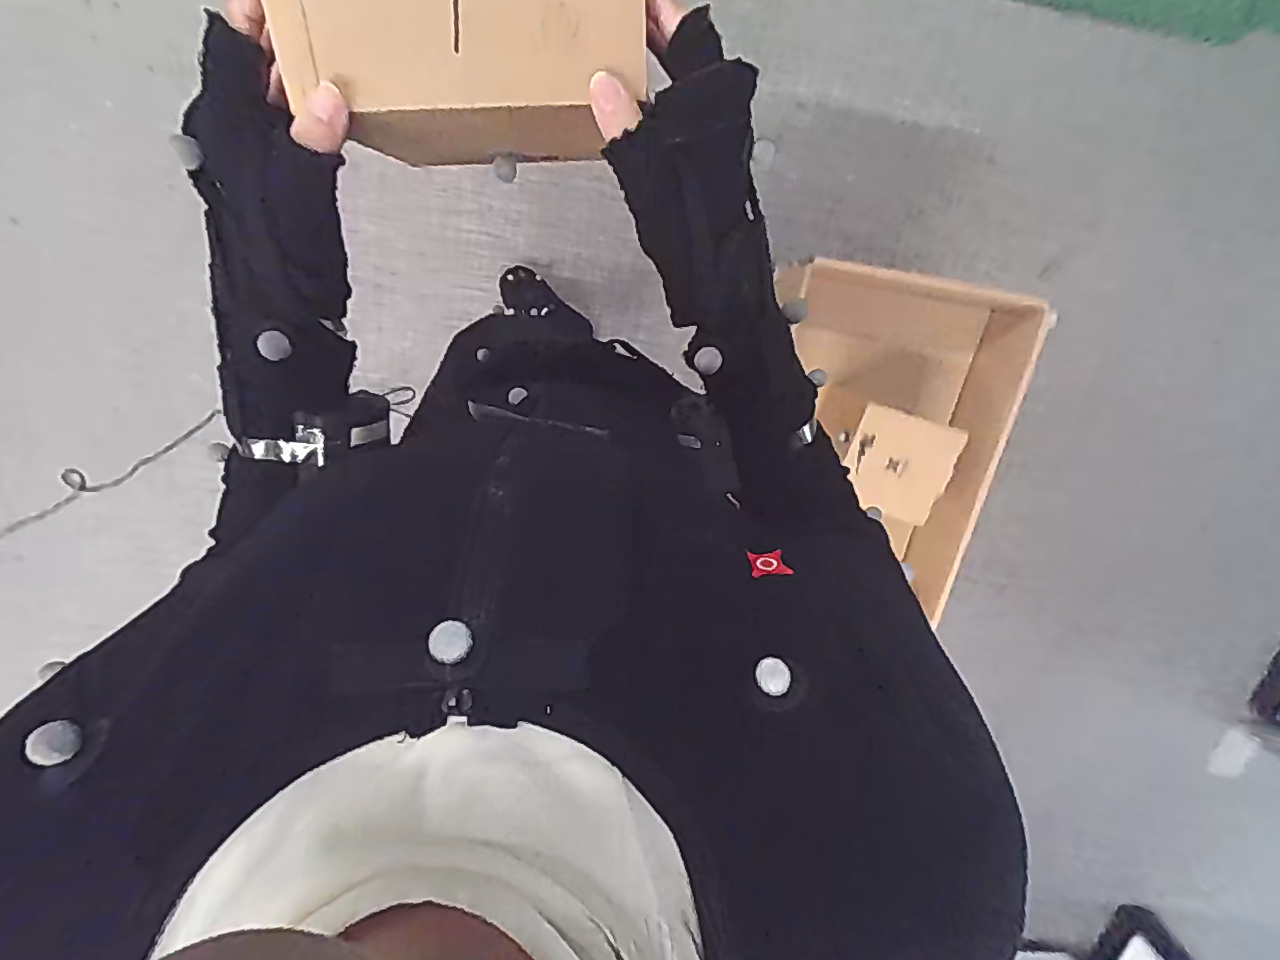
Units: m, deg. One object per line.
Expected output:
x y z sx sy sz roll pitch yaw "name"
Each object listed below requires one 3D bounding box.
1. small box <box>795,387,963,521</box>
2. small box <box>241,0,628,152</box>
0.398 -0.053 0.933 0.179 0.176 0.168 16 107 -8 "small box"
-0.094 -0.289 0.286 0.168 0.176 0.179 -3 114 -1 "small box"
